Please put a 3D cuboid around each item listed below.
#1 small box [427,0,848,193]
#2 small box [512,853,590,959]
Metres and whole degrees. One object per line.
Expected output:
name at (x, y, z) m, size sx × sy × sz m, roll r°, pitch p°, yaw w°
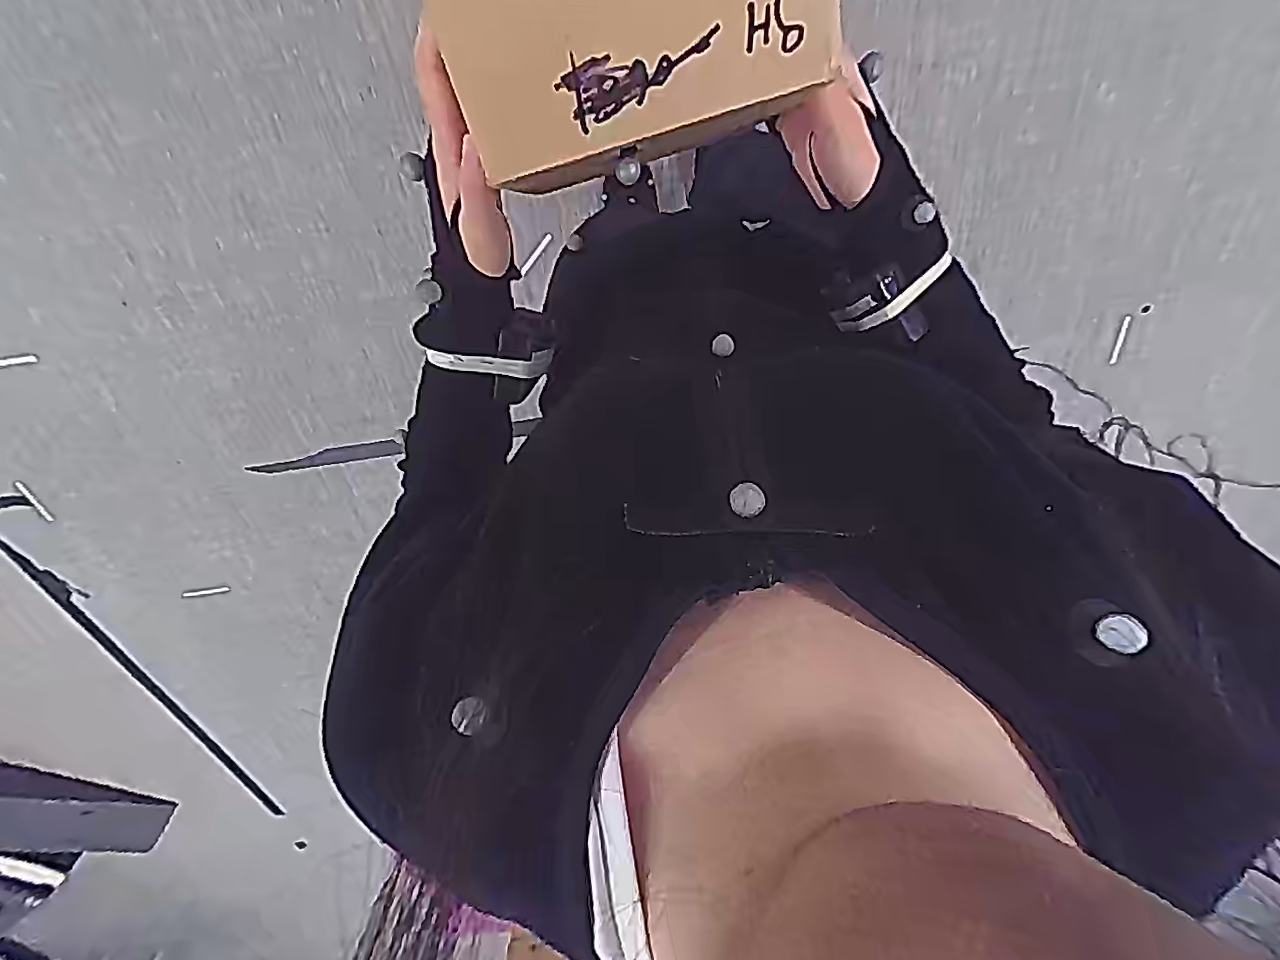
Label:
small box at (-0.015, -0.262, 0.270) m, size 0.168 × 0.176 × 0.179 m, roll -15°, pitch 116°, yaw 5°
small box at (-0.212, 1.061, 1.342) m, size 0.168 × 0.176 × 0.179 m, roll -5°, pitch 122°, yaw -2°
